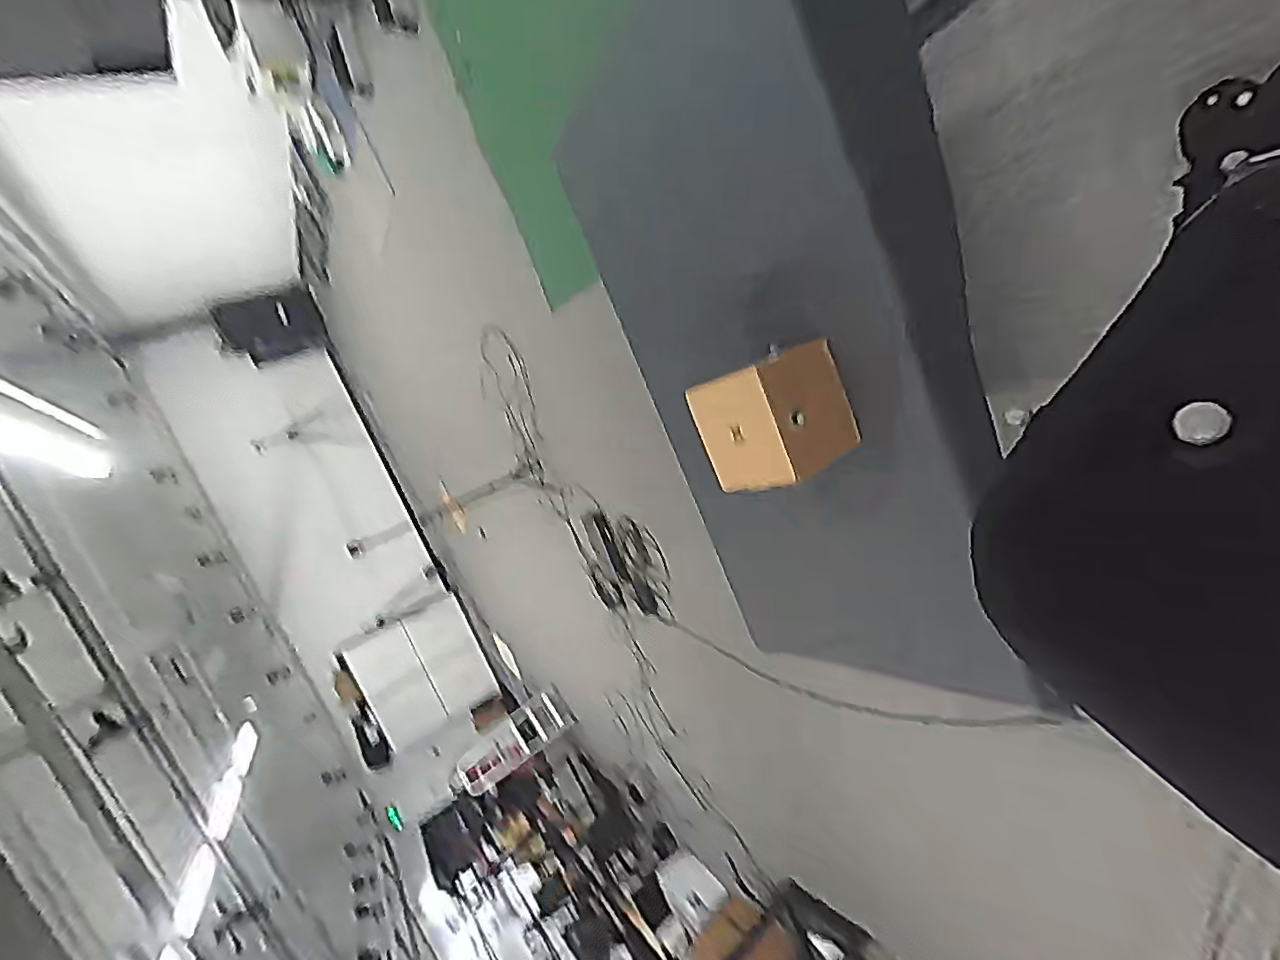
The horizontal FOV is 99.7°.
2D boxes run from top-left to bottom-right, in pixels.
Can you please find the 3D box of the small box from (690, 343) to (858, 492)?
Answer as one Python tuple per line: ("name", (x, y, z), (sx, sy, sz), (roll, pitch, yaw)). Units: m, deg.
("small box", (0.218, -0.097, 0.870), (0.168, 0.176, 0.179), (-12, 104, 58))
